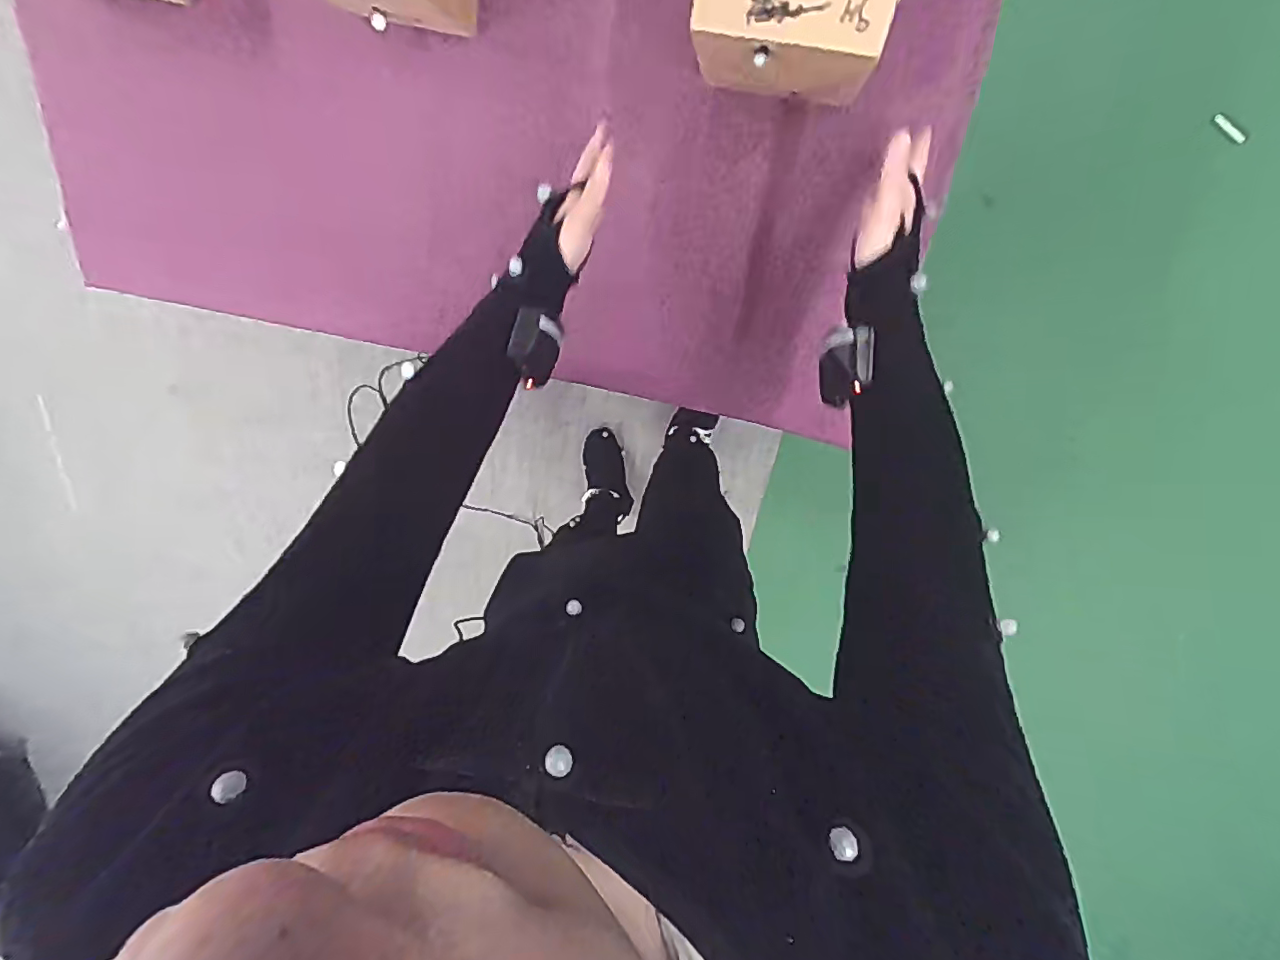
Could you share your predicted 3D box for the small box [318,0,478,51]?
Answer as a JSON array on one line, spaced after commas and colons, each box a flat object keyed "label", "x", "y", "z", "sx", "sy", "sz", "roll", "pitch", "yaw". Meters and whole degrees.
[{"label": "small box", "x": -0.267, "y": -0.574, "z": 0.539, "sx": 0.168, "sy": 0.176, "sz": 0.179, "roll": 15, "pitch": 115, "yaw": 4}]

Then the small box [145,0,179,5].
[{"label": "small box", "x": -0.637, "y": -0.645, "z": 0.568, "sx": 0.168, "sy": 0.176, "sz": 0.179, "roll": 13, "pitch": 115, "yaw": 3}]
